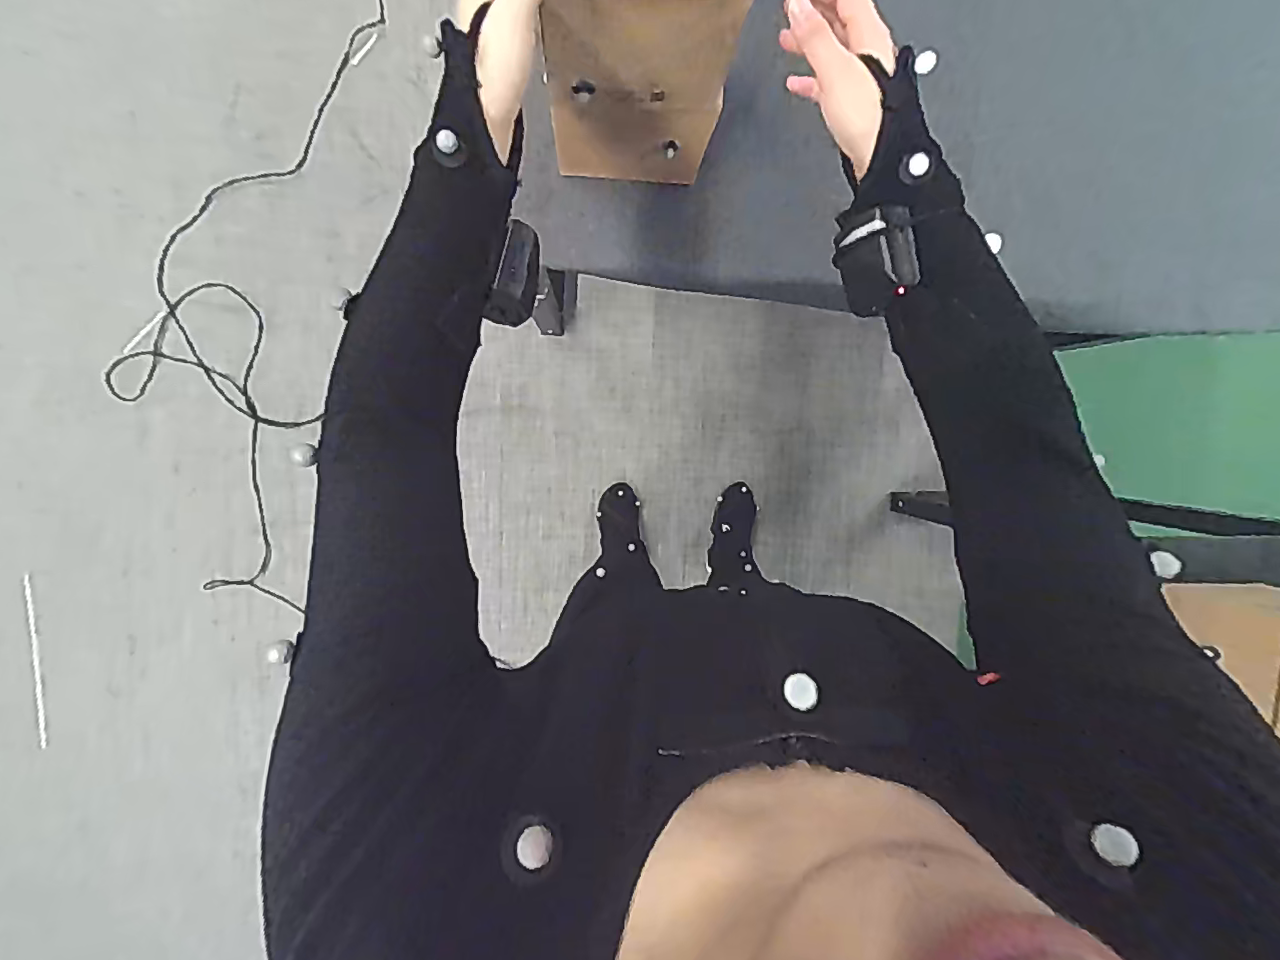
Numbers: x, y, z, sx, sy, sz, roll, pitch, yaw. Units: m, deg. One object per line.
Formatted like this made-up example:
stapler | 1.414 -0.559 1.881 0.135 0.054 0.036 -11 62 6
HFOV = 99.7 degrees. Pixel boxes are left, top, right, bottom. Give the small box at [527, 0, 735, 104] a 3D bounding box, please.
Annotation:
small box | -0.010 -0.446 0.445 0.168 0.176 0.179 -3 93 -5

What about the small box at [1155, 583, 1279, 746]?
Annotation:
small box | 0.869 0.245 0.739 0.179 0.176 0.168 1 97 -4

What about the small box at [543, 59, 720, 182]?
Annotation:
small box | -0.012 -0.460 0.609 0.179 0.176 0.168 1 93 -3
